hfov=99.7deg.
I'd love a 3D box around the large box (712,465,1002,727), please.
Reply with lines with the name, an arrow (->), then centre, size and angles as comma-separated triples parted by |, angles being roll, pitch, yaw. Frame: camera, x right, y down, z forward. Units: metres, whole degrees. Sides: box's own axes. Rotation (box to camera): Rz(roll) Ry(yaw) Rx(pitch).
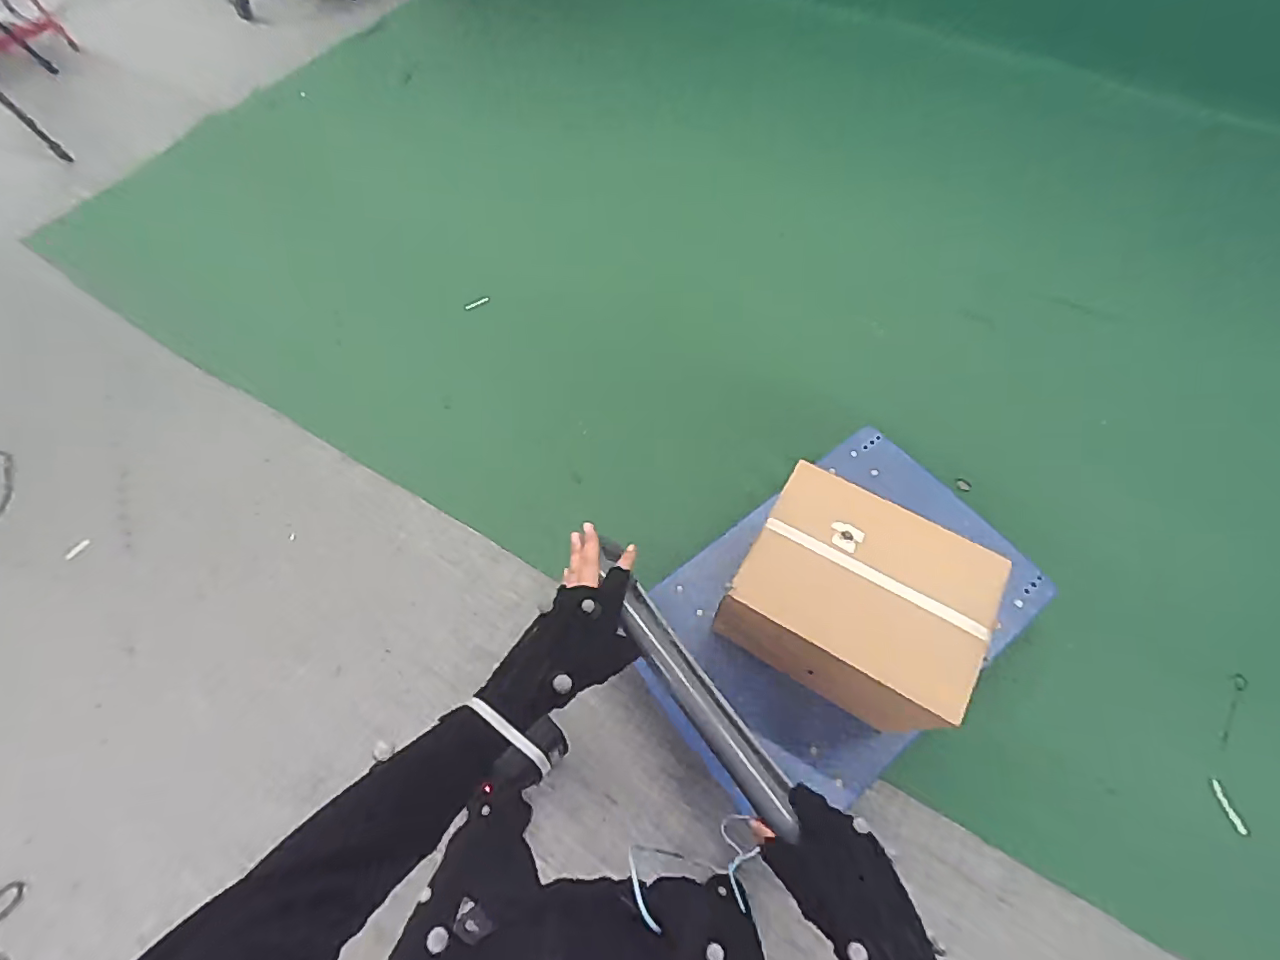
large box -> 0.398, 0.240, 1.076 | 0.408, 0.320, 0.320 | 28, 67, 16
